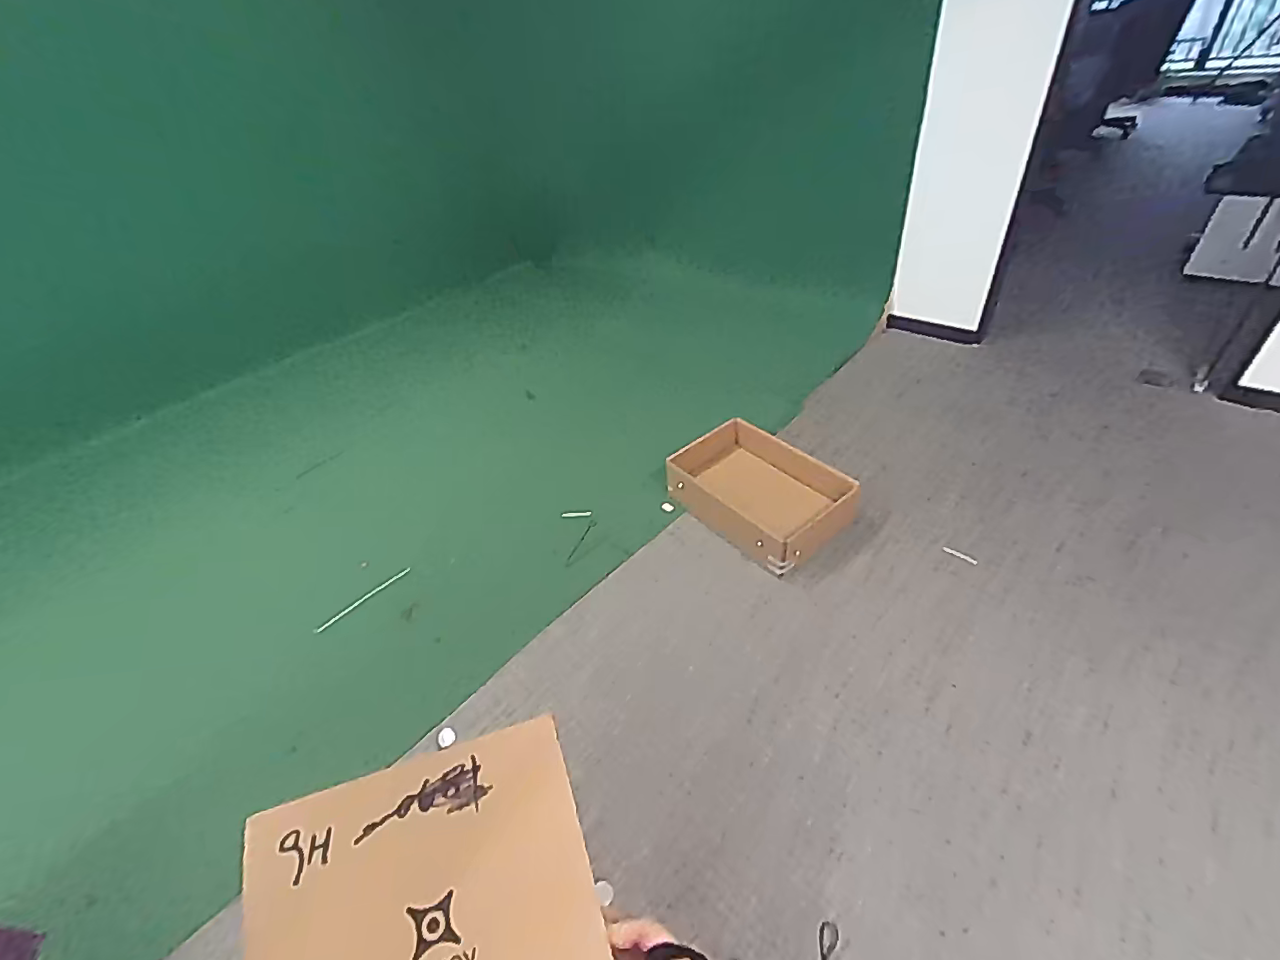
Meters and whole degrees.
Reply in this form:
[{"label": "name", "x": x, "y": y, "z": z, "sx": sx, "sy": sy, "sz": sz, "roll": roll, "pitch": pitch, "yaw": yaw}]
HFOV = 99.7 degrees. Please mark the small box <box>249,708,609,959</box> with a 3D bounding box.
[{"label": "small box", "x": -0.115, "y": 0.267, "z": 0.340, "sx": 0.168, "sy": 0.176, "sz": 0.179, "roll": -12, "pitch": 62, "yaw": -17}]
